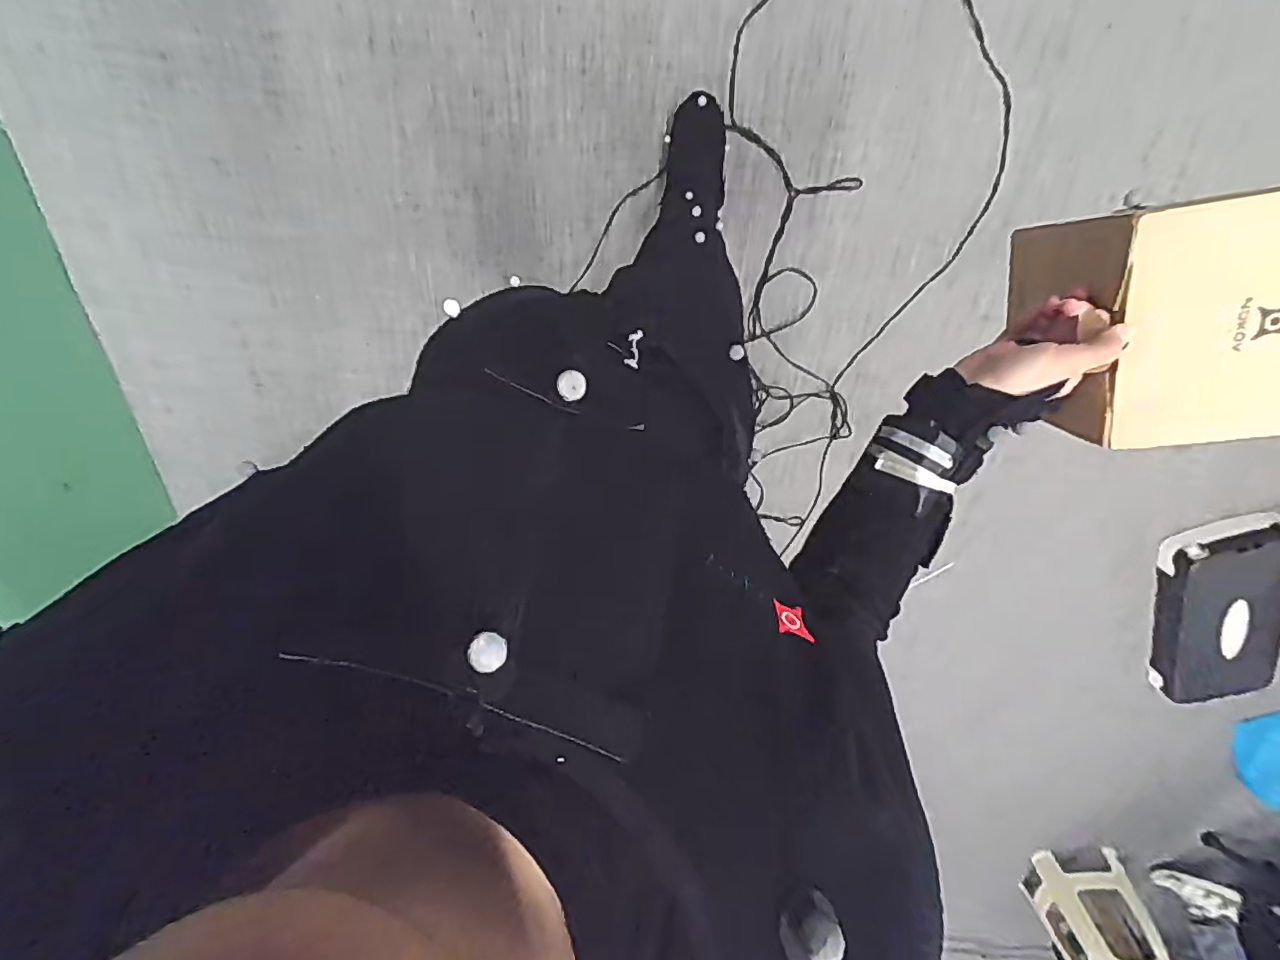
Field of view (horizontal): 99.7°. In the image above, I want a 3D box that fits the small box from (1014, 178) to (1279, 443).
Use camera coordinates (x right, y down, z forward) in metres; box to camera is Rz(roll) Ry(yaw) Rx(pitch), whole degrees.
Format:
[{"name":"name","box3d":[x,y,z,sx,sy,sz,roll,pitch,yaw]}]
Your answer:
[{"name":"small box","box3d":[0.434,-0.139,0.432,0.179,0.176,0.168,-7,111,11]}]
